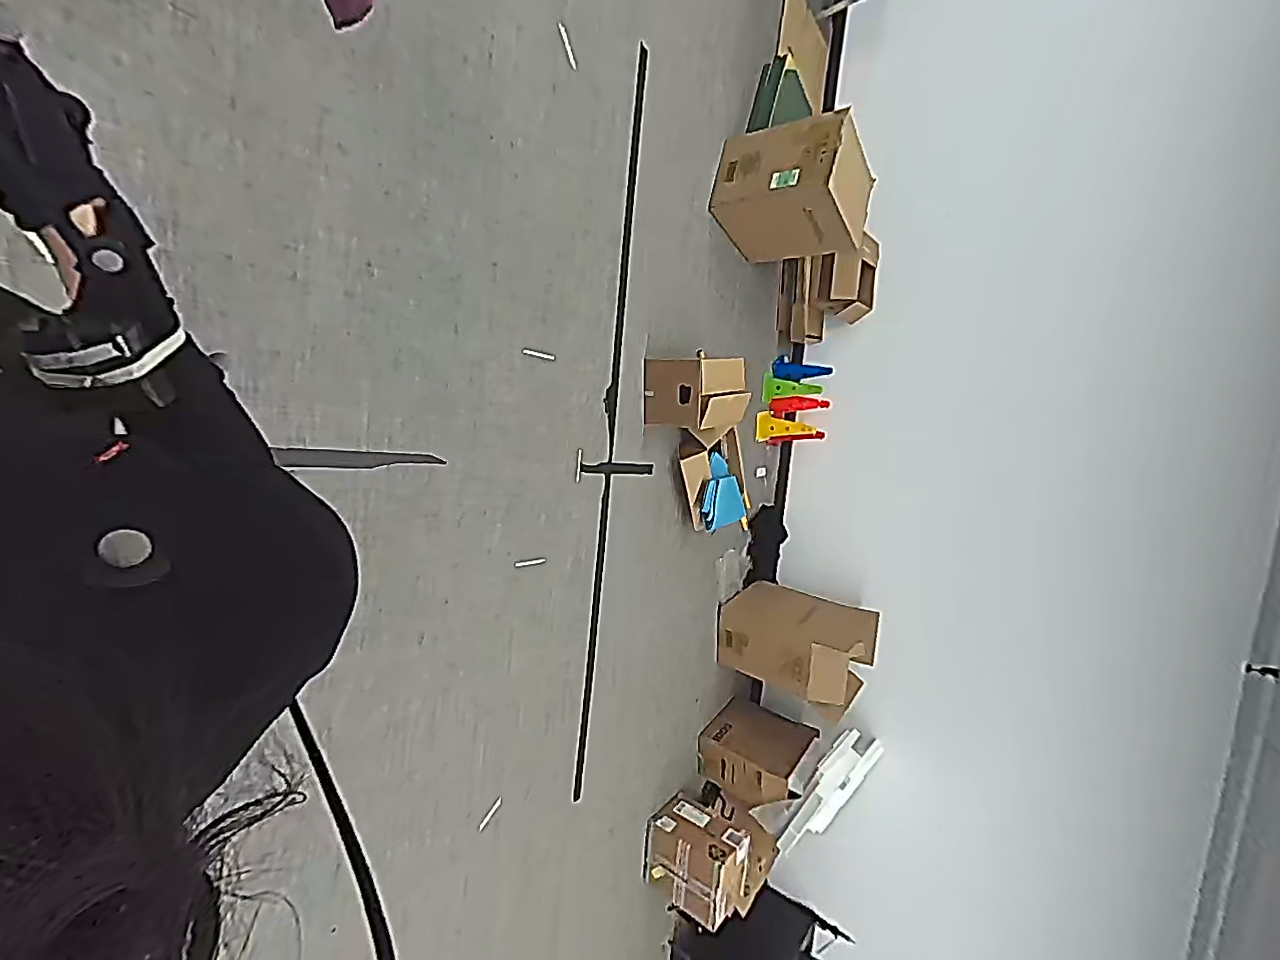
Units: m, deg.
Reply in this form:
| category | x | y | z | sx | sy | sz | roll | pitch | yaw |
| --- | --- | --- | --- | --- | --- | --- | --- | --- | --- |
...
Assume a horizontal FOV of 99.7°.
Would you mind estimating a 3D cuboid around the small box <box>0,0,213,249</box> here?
| category | x | y | z | sx | sy | sz | roll | pitch | yaw |
| --- | --- | --- | --- | --- | --- | --- | --- | --- | --- |
| small box | -0.399 | -0.232 | 0.298 | 0.176 | 0.168 | 0.179 | -104 | 172 | -52 |
